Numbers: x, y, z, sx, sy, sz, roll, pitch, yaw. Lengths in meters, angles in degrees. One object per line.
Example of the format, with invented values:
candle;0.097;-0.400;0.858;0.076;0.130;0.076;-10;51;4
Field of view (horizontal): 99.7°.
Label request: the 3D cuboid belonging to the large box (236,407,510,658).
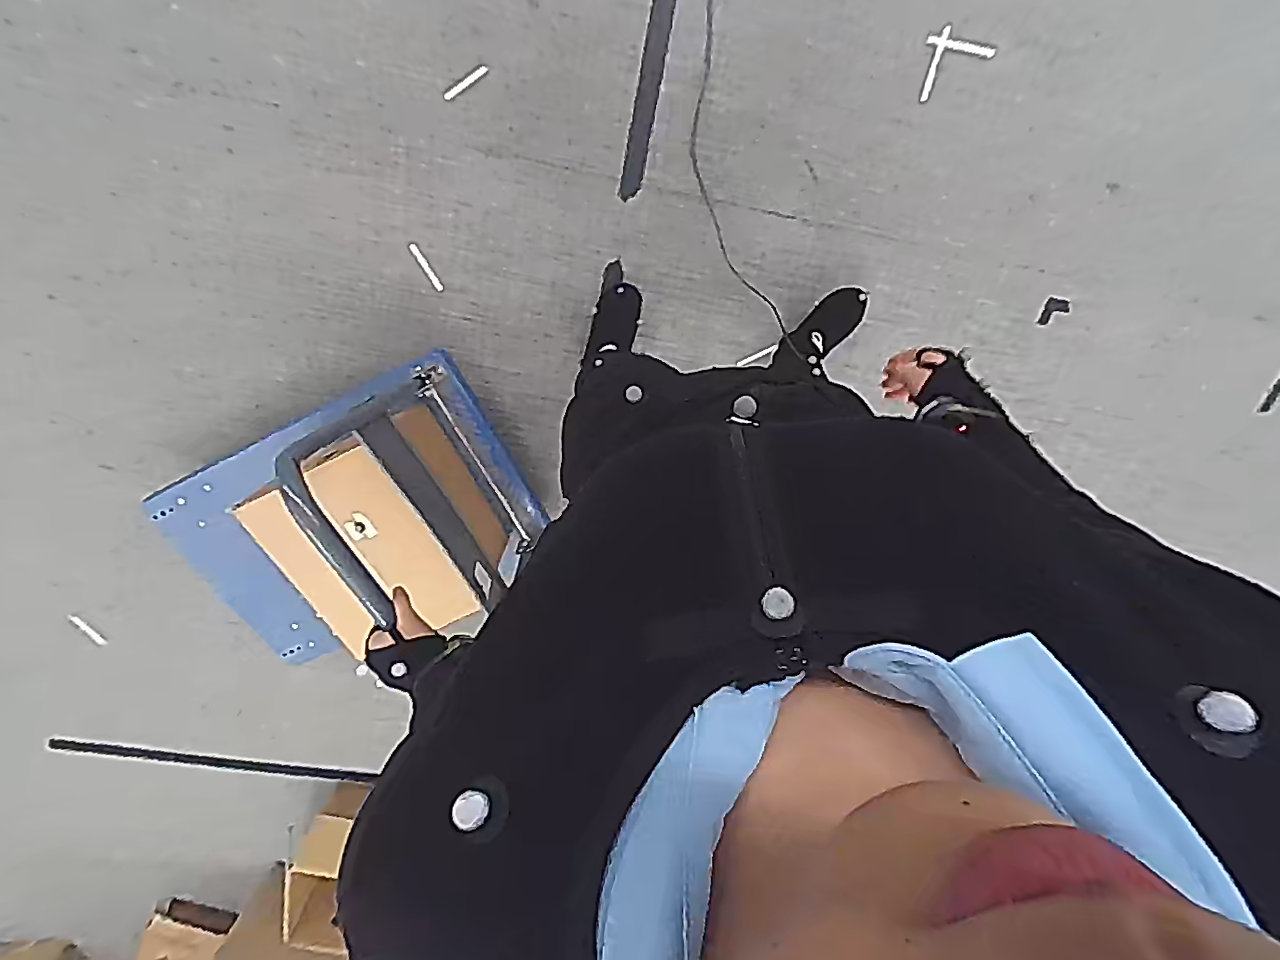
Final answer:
large box;-0.550;0.107;1.210;0.320;0.320;0.408;-25;110;7
